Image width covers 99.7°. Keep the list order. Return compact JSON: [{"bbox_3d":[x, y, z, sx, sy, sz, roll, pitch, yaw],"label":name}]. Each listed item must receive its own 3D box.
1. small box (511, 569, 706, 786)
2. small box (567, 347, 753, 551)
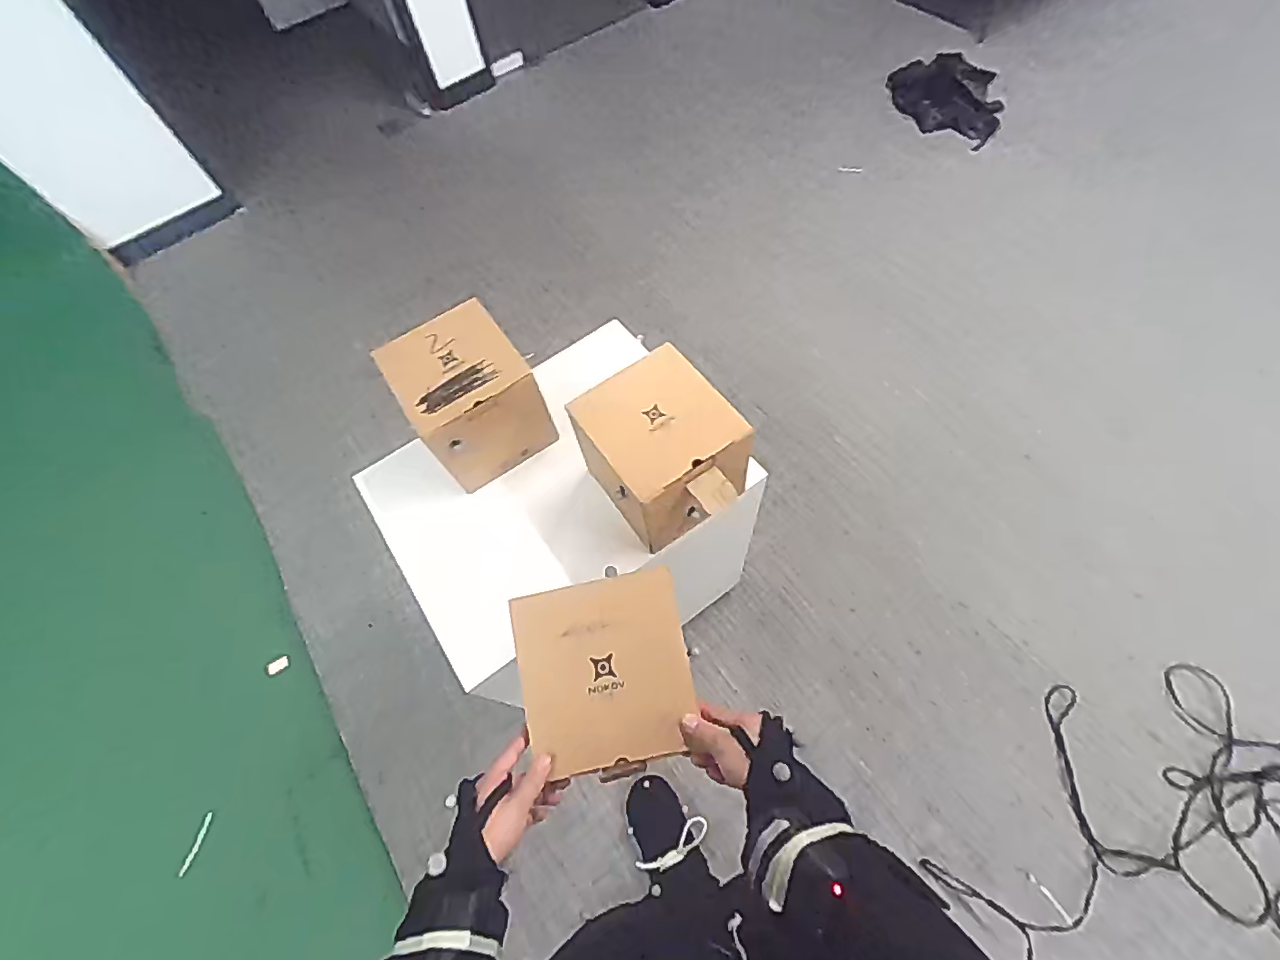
[{"bbox_3d":[-0.028,0.202,0.596,0.168,0.176,0.179,-13,77,0],"label":"small box"},{"bbox_3d":[0.027,-0.035,0.726,0.168,0.176,0.179,-34,64,-12],"label":"small box"}]
